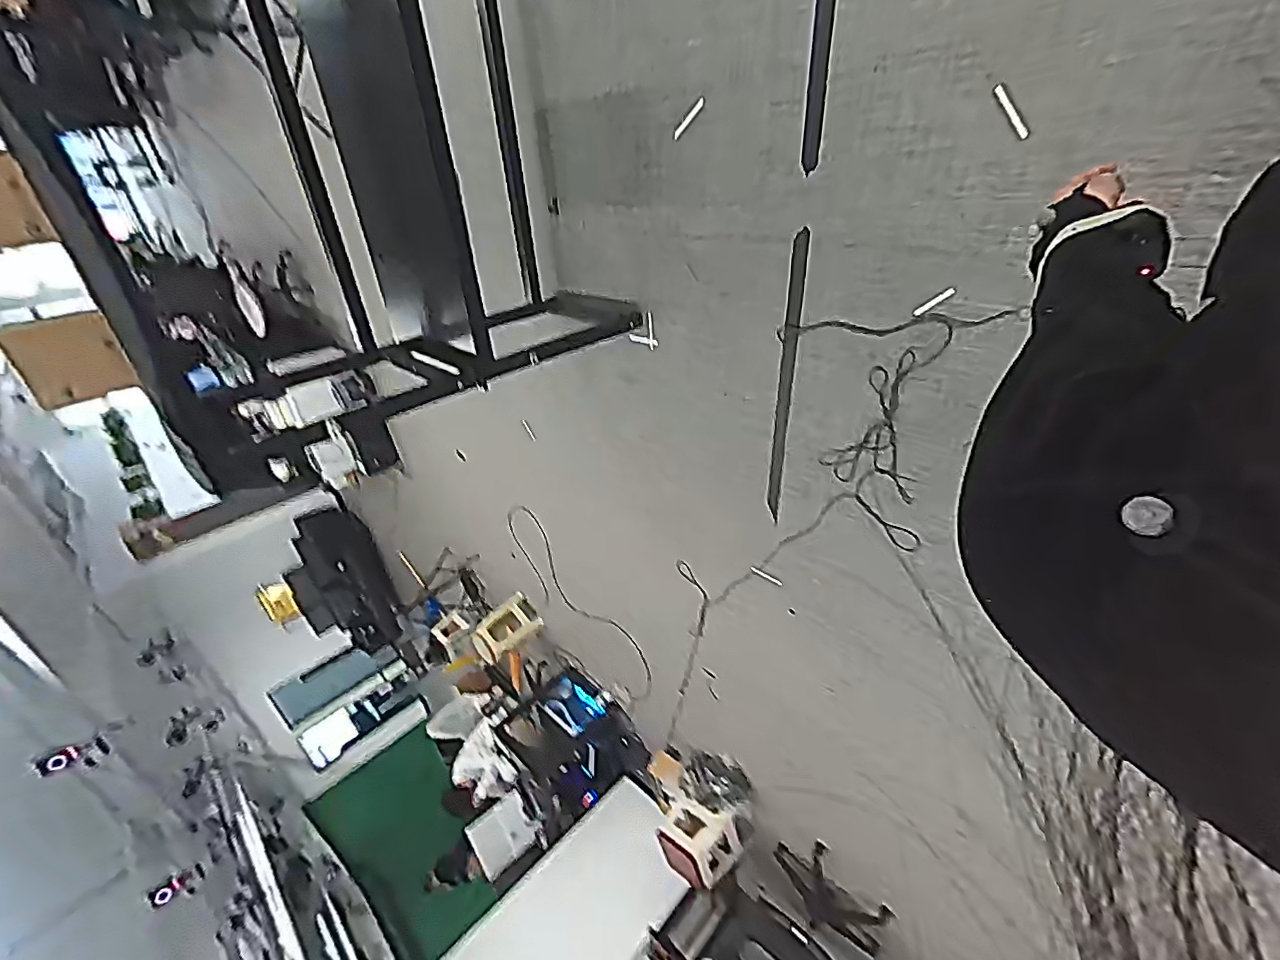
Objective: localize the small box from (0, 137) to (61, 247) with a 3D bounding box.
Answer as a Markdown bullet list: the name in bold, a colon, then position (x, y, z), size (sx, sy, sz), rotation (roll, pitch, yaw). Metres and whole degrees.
- **small box**: position (-1.189, -0.512, 0.965), size (0.179, 0.176, 0.168), rotation (28, 134, 40)
